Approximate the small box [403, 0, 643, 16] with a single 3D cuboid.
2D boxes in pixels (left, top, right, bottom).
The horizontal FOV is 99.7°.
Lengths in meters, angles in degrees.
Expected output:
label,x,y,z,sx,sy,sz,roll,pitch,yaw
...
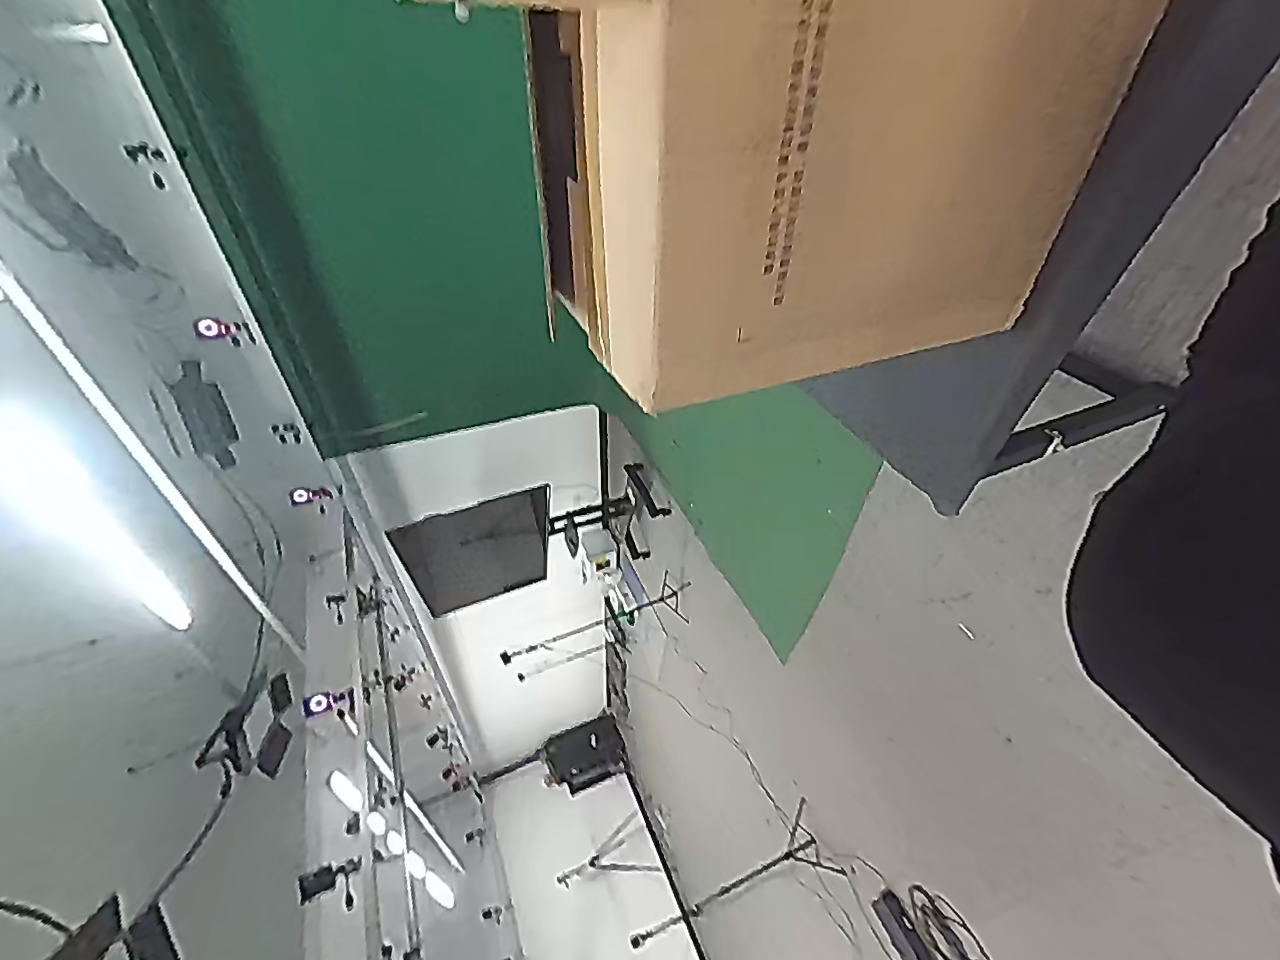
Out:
label,x,y,z,sx,sy,sz,roll,pitch,yaw
small box,-0.096,-0.455,0.399,0.179,0.176,0.168,-126,28,-44
